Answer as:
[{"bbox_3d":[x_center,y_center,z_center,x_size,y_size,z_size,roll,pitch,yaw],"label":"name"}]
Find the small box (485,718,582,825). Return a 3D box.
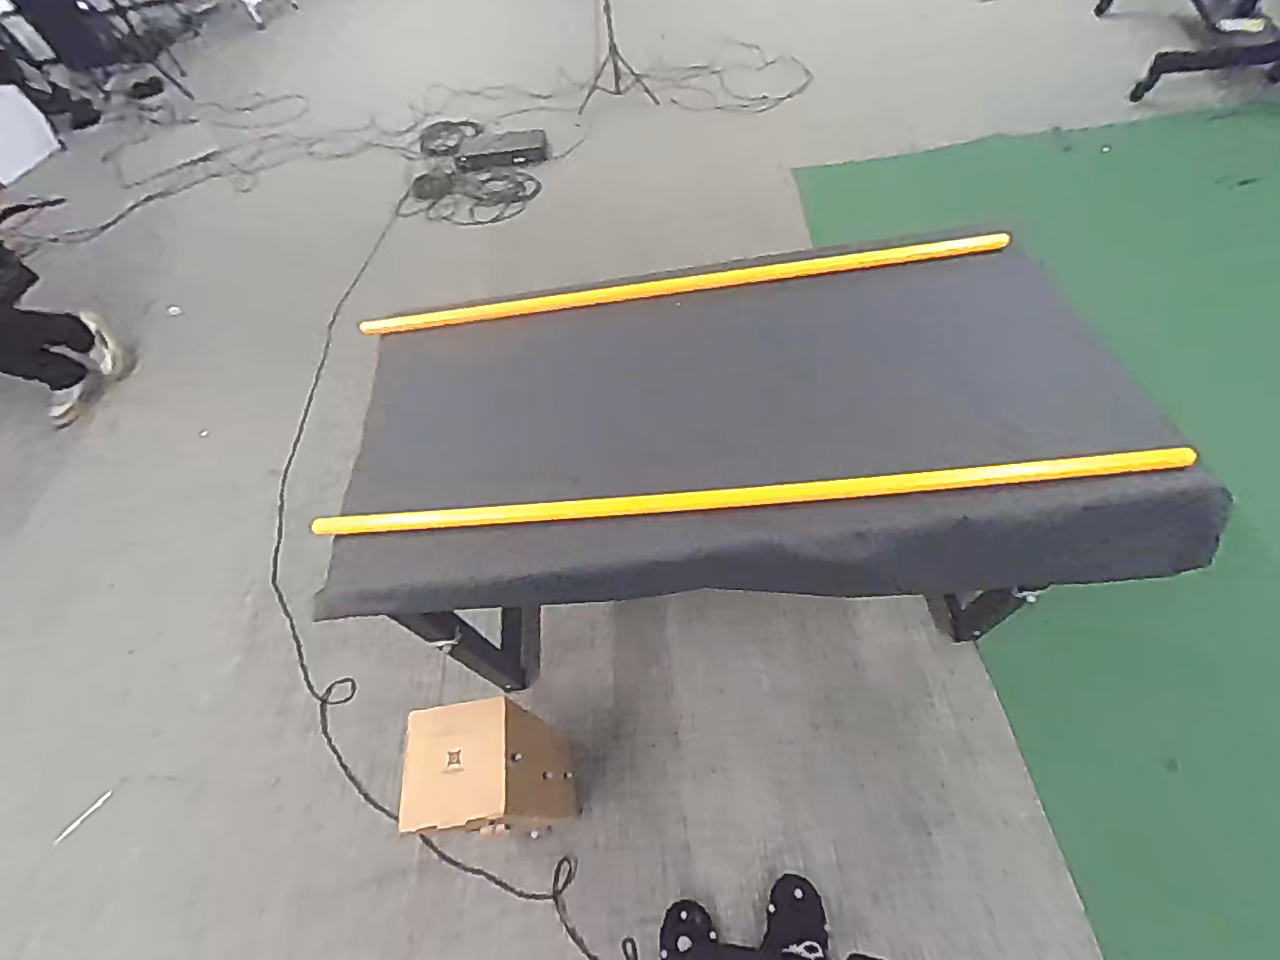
[{"bbox_3d":[-0.234,0.649,1.199,0.168,0.176,0.179,-14,58,0],"label":"small box"}]
